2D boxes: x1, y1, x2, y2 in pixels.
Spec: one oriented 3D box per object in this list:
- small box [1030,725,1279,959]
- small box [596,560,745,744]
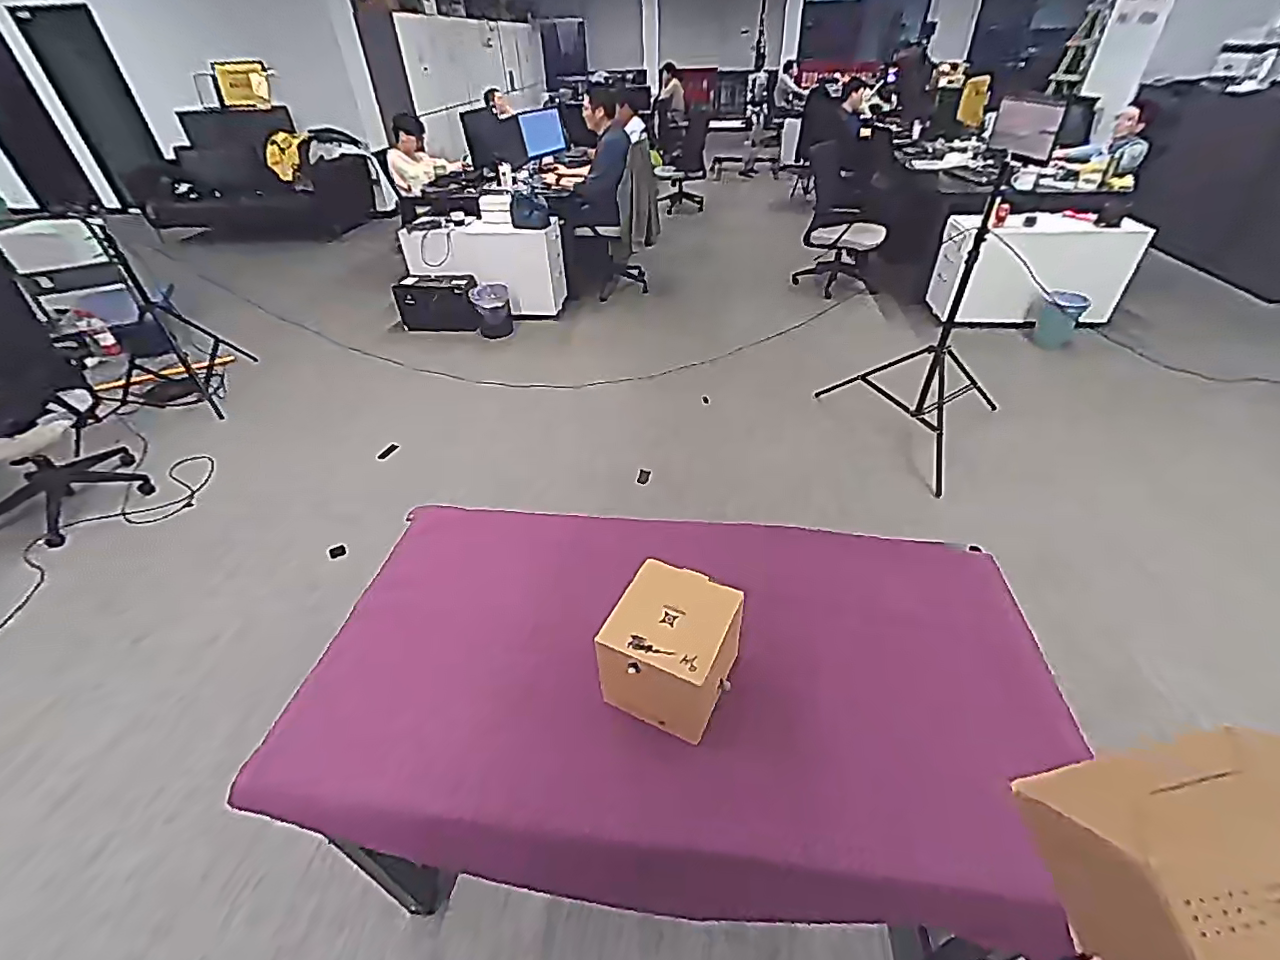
[{"bbox_3d":[0.366,0.252,0.300,0.168,0.179,0.176,-18,70,8],"label":"small box"},{"bbox_3d":[0.048,0.261,0.832,0.168,0.176,0.179,16,41,22],"label":"small box"}]
